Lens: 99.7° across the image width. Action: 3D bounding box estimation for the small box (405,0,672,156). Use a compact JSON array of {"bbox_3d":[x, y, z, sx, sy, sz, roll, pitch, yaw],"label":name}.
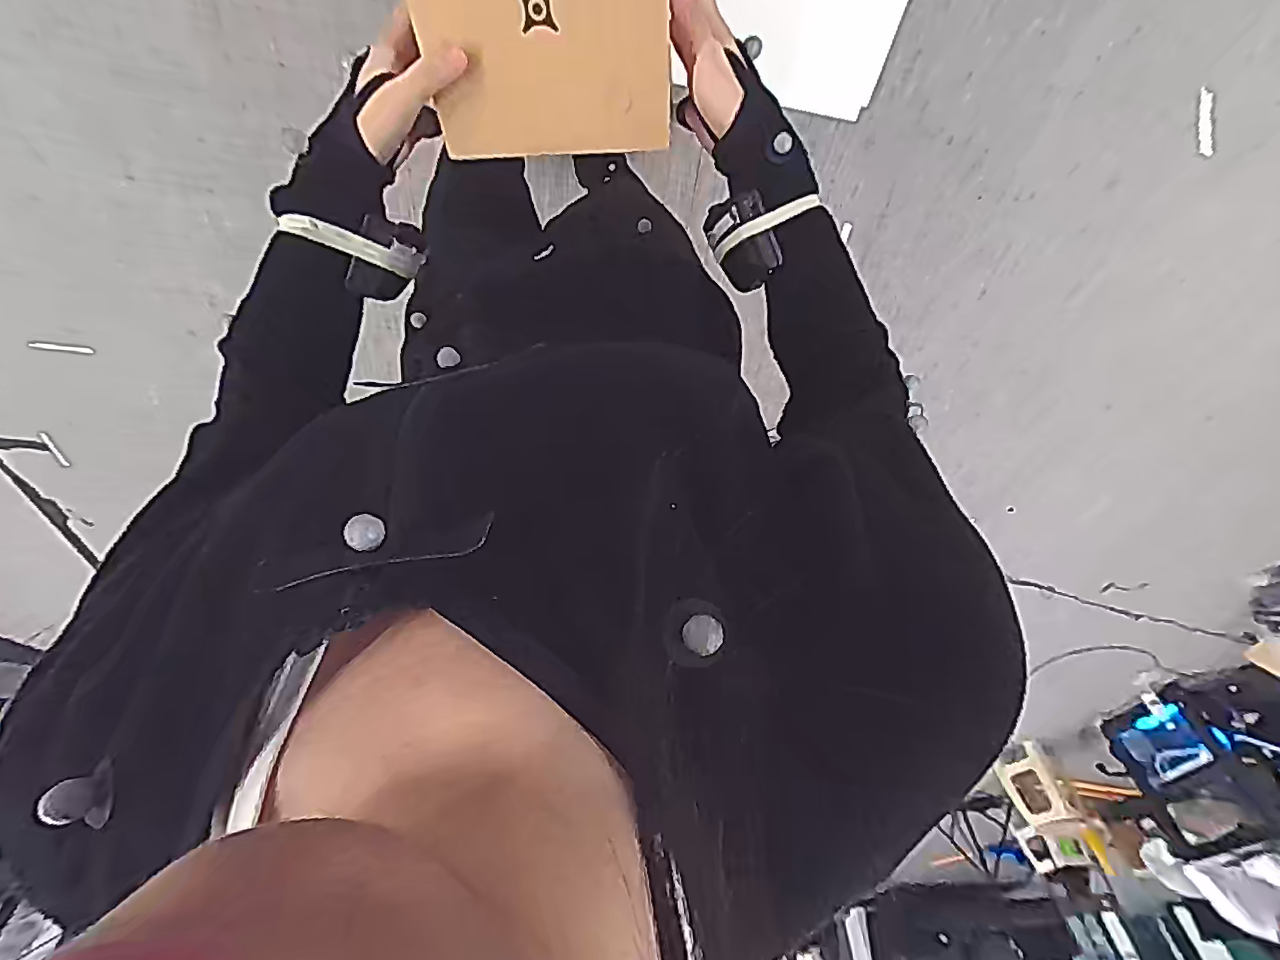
[{"bbox_3d":[-0.060,-0.357,0.382,0.168,0.176,0.179,0,140,3],"label":"small box"}]
